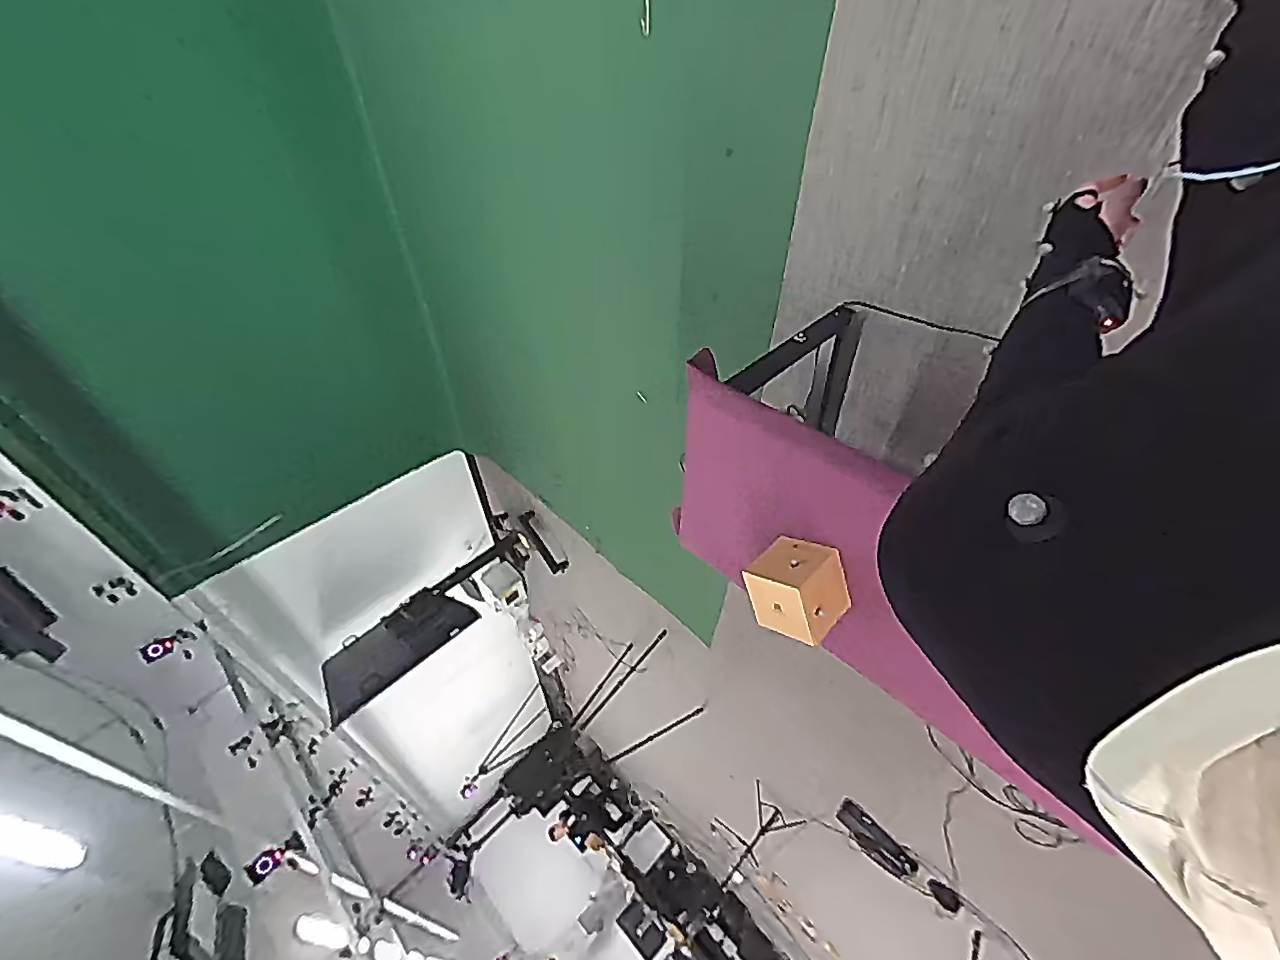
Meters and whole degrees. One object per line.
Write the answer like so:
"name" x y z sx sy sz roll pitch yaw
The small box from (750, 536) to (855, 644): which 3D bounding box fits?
"small box" 0.402 0.260 1.329 0.168 0.176 0.179 10 128 51
